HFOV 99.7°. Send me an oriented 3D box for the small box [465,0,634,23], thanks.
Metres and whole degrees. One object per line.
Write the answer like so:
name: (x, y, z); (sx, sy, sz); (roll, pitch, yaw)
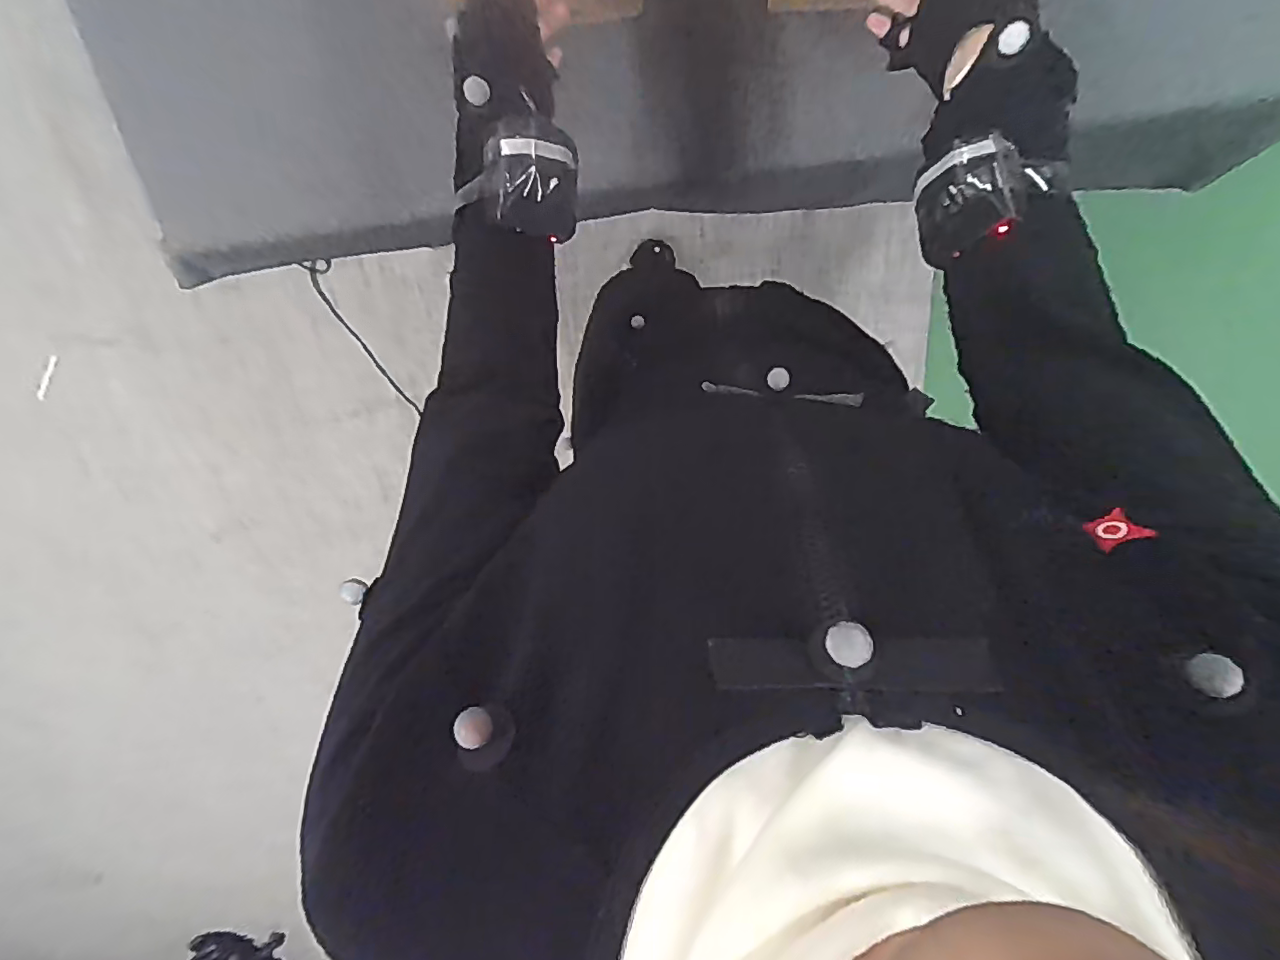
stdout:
small box: (-0.087, -0.492, 0.415); (0.168, 0.176, 0.179); (-8, 111, 3)
